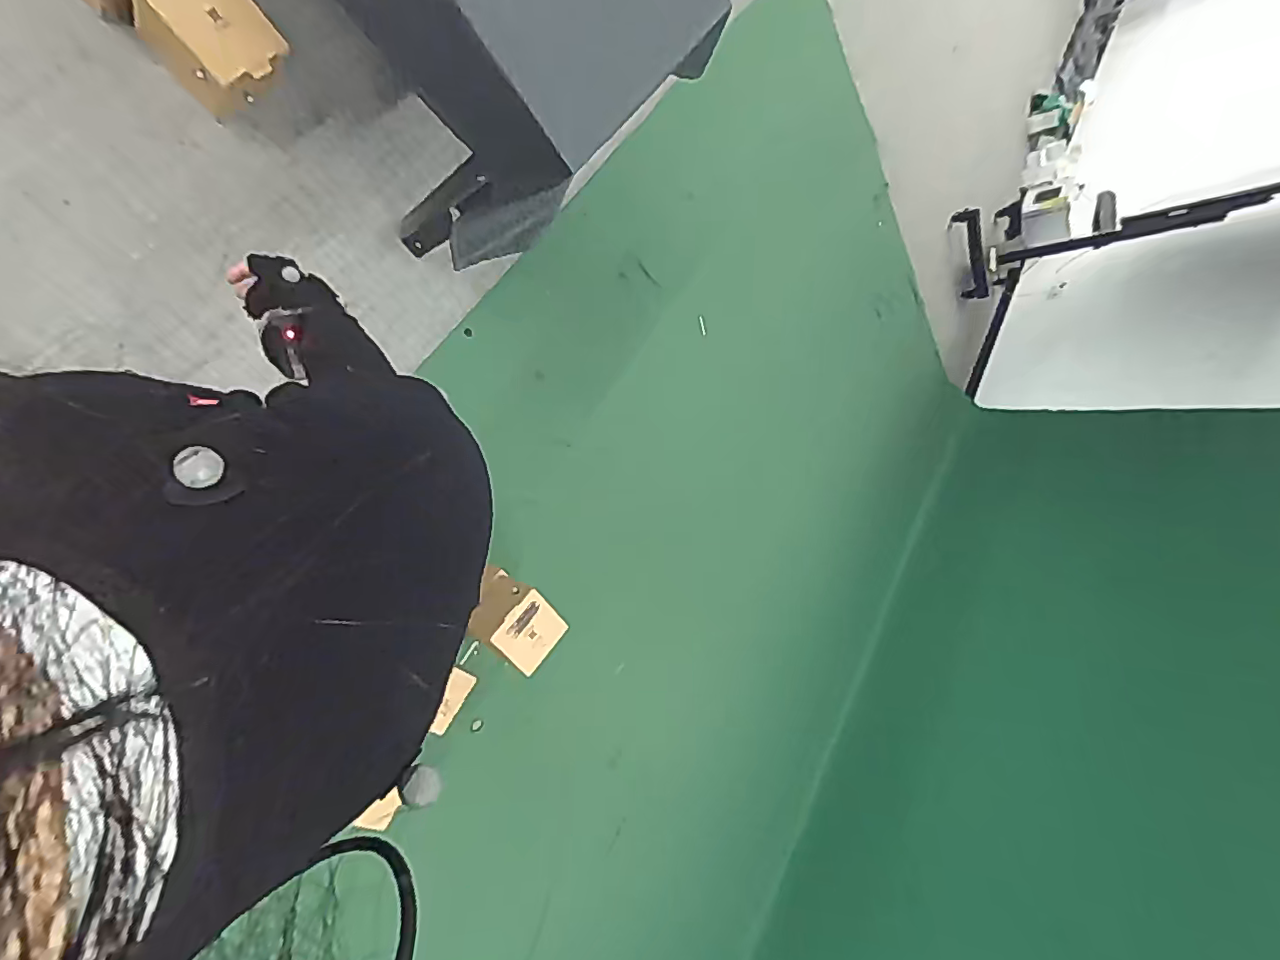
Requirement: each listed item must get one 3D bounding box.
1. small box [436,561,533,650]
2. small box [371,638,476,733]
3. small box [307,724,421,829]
[{"bbox_3d":[-0.452,0.355,1.565,0.168,0.176,0.179,-49,123,-28],"label":"small box"},{"bbox_3d":[-0.588,0.547,1.460,0.179,0.176,0.168,46,65,-36],"label":"small box"},{"bbox_3d":[-0.704,0.751,1.378,0.179,0.176,0.168,42,67,-37],"label":"small box"}]
